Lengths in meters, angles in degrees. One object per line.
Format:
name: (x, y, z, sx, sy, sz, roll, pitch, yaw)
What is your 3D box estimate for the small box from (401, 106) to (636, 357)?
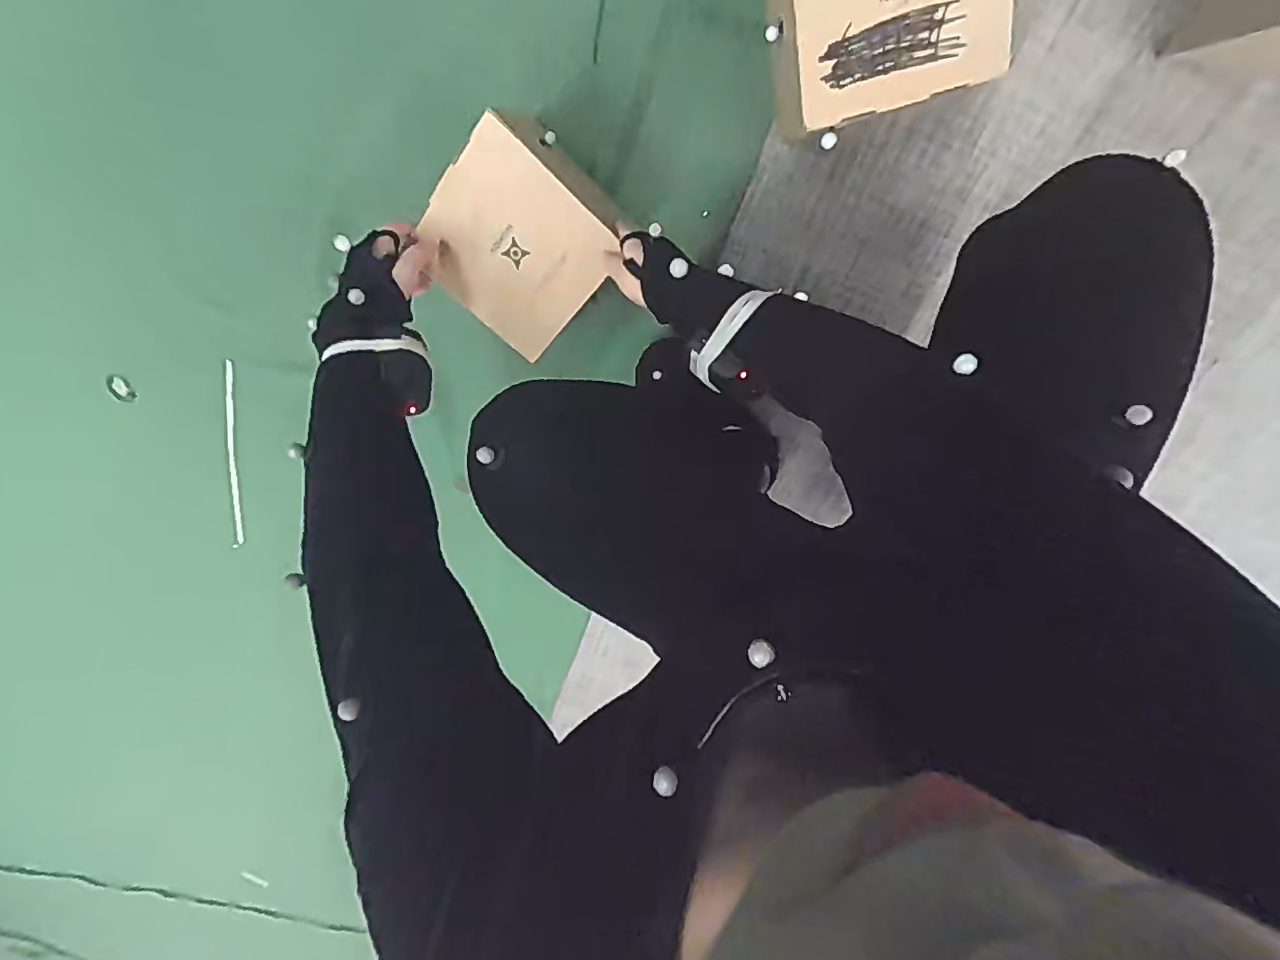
small box: (-0.123, -0.276, 0.612, 0.179, 0.176, 0.168, 40, 116, -19)

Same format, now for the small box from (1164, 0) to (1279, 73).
small box: (0.612, -0.454, 0.444, 0.179, 0.176, 0.168, 8, 119, 1)
